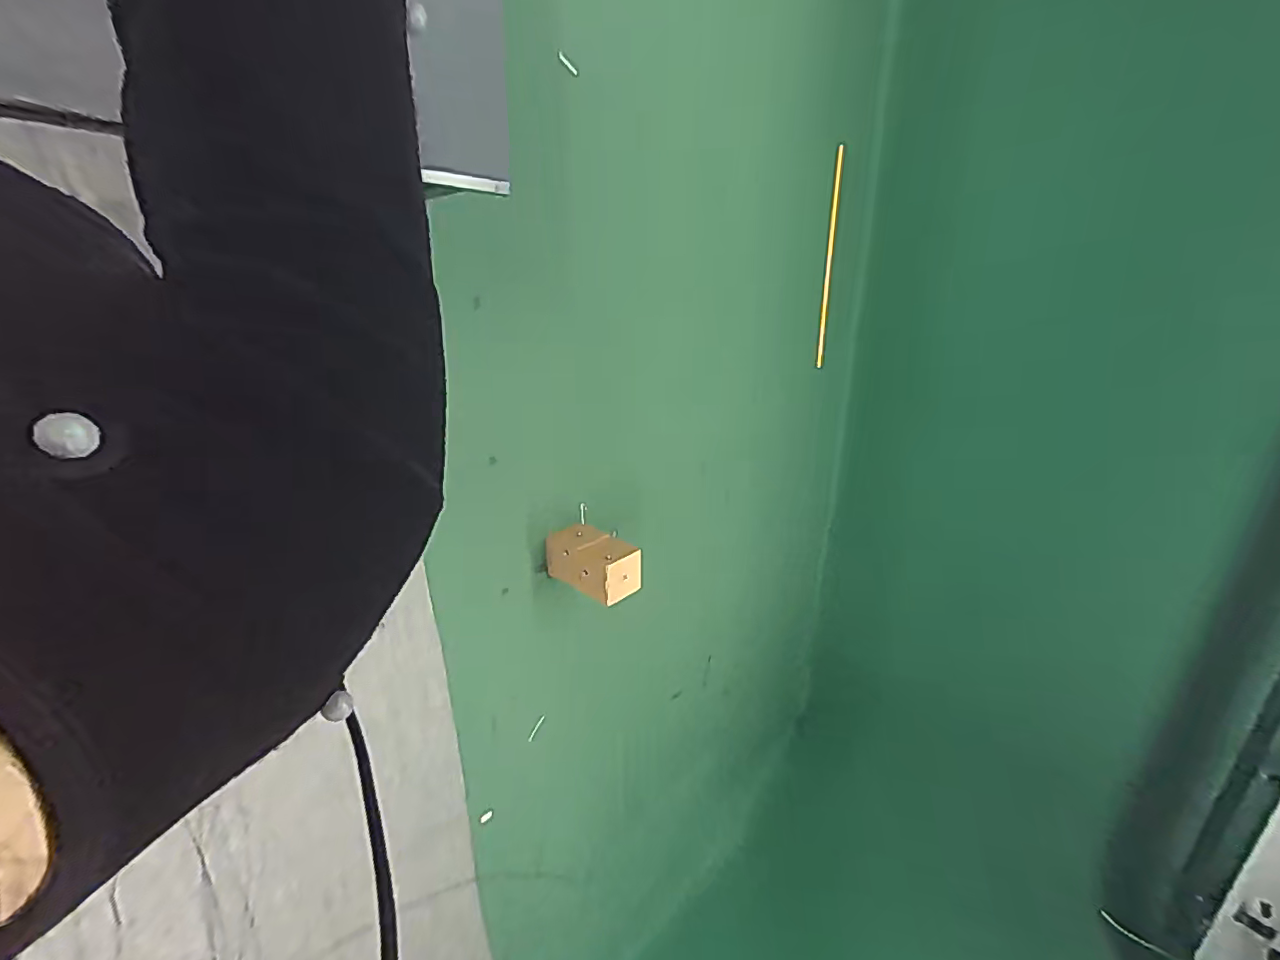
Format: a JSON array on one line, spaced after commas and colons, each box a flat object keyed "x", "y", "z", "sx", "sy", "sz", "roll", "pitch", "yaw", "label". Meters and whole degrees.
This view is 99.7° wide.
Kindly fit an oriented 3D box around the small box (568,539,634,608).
[{"x": -0.143, "y": 0.332, "z": 1.966, "sx": 0.179, "sy": 0.176, "sz": 0.168, "roll": -20, "pitch": 119, "yaw": -45, "label": "small box"}]
